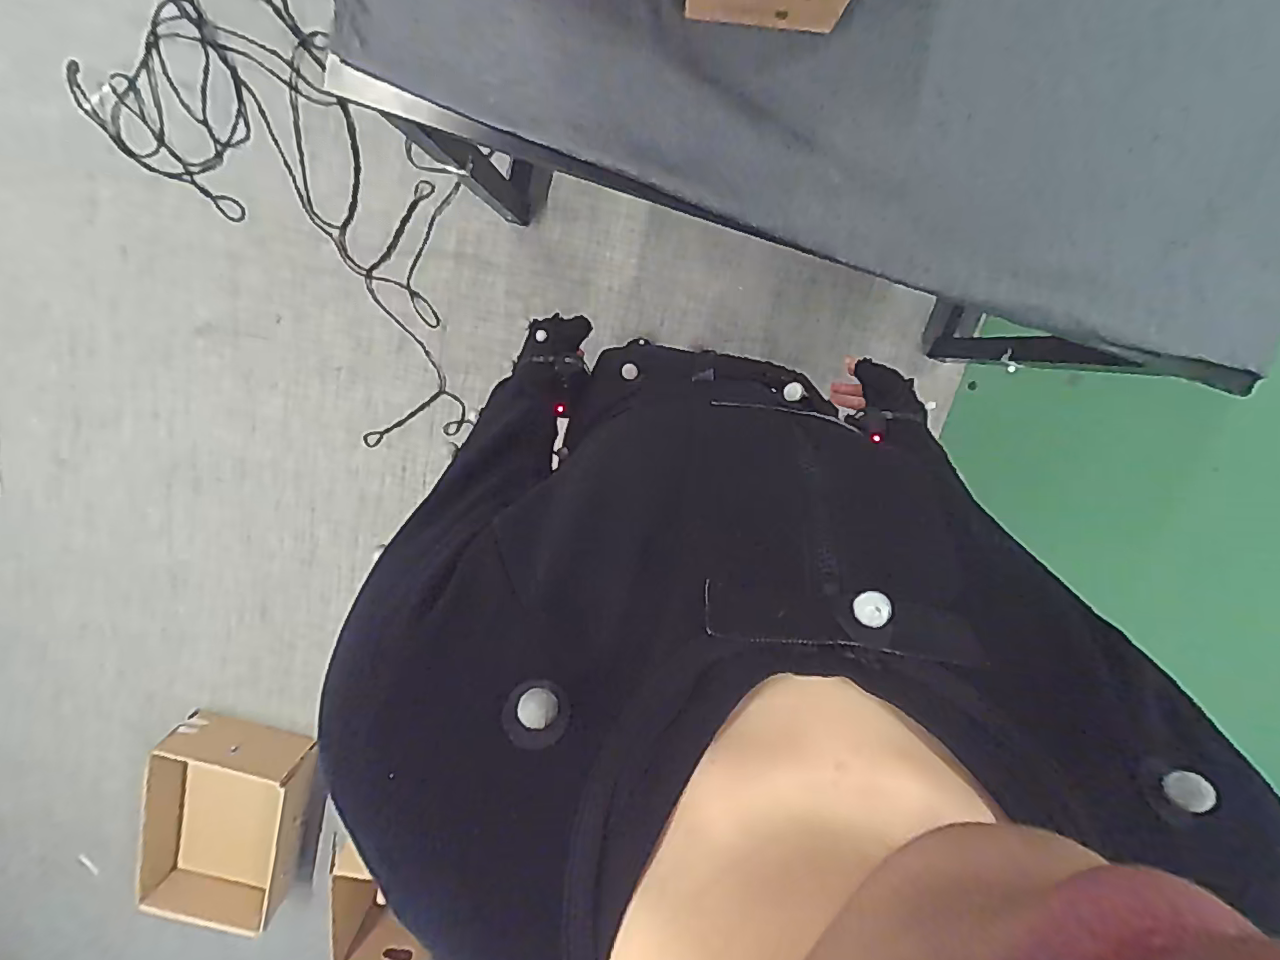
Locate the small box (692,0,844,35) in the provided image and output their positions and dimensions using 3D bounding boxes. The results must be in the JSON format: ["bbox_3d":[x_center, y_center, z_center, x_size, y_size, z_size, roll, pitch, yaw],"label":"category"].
[{"bbox_3d":[0.139,-0.568,0.510,0.168,0.176,0.179,6,103,-2],"label":"small box"}]
